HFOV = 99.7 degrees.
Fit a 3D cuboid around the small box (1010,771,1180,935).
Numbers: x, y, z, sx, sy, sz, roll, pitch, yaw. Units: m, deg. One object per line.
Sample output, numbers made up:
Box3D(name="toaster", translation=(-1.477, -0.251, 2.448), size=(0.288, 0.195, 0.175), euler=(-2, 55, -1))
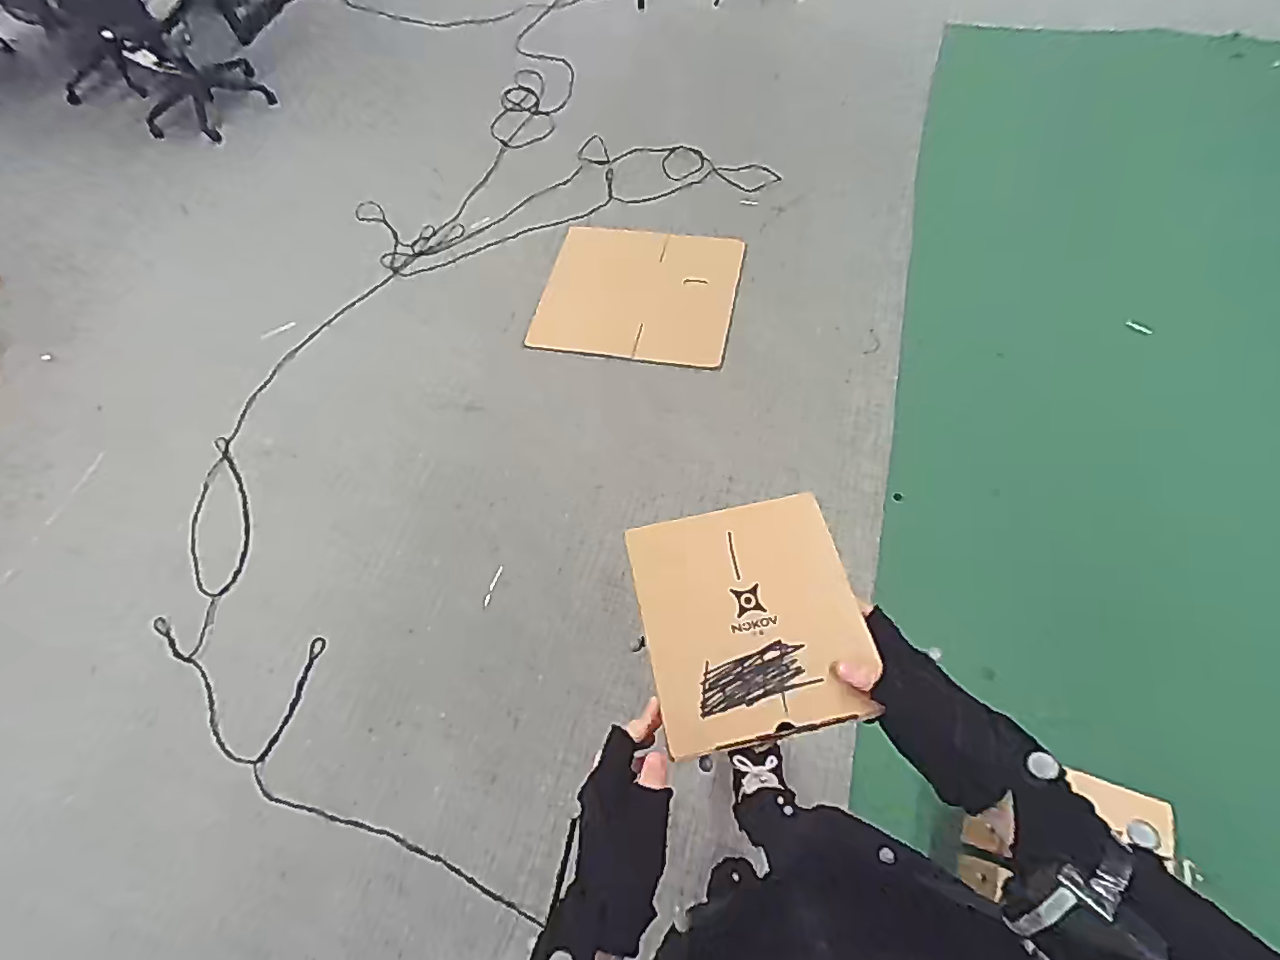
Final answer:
Box3D(name="small box", translation=(0.773, 0.625, 0.935), size=(0.168, 0.176, 0.179), euler=(16, 66, 15))
